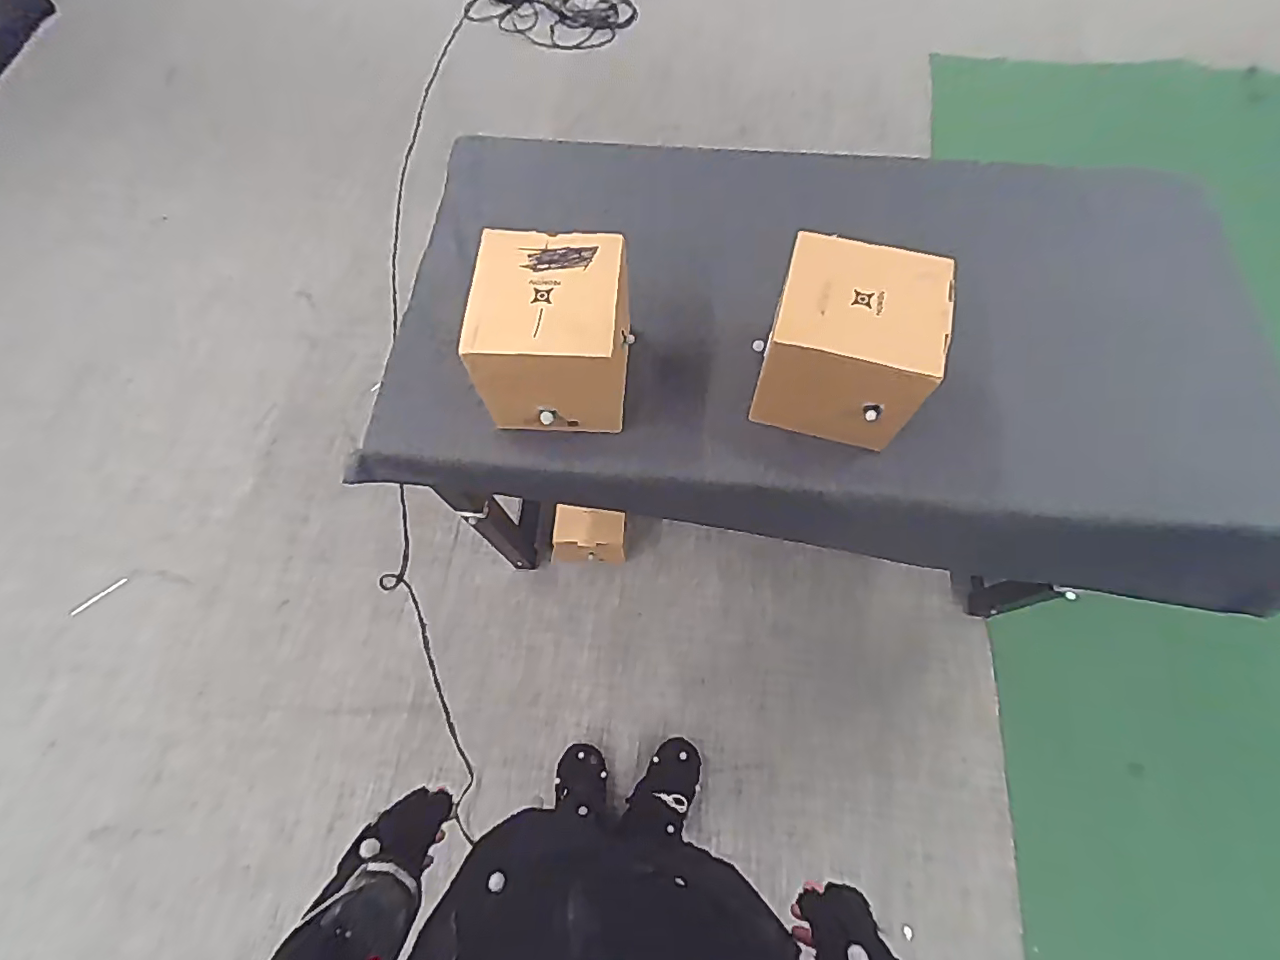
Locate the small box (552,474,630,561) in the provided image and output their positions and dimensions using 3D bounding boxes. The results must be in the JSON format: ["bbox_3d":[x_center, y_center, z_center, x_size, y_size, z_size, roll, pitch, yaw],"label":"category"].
[{"bbox_3d":[-0.114,0.100,1.352,0.168,0.176,0.179,2,68,3],"label":"small box"}]

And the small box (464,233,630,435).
[{"bbox_3d":[-0.100,-0.176,0.673,0.168,0.176,0.179,2,67,2],"label":"small box"}]

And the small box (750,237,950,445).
[{"bbox_3d":[0.246,-0.160,0.662,0.179,0.176,0.168,13,67,8],"label":"small box"}]
